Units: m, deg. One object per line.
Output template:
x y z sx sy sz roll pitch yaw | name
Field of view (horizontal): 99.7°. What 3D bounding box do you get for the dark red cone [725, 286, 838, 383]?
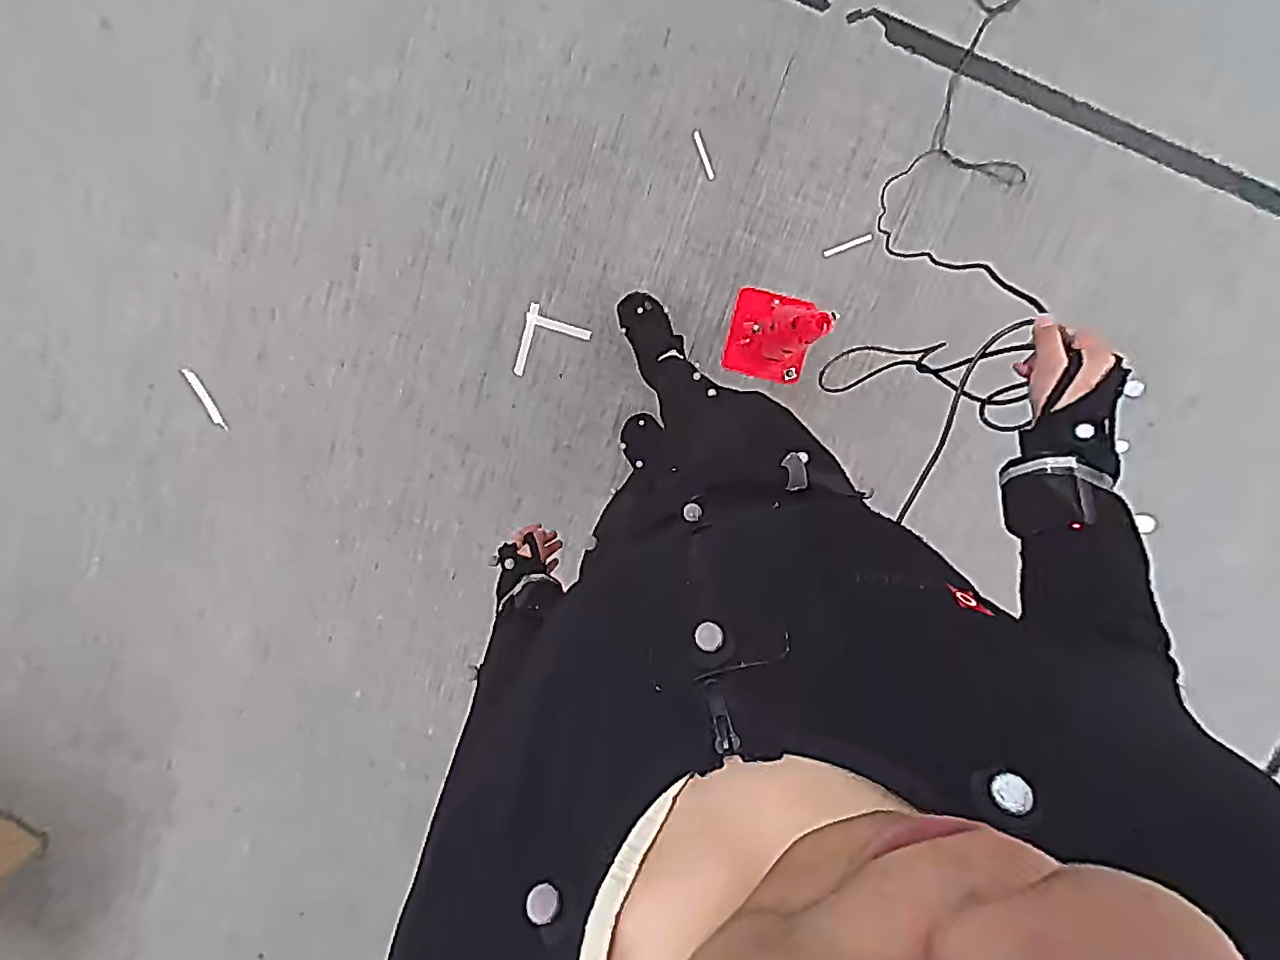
0.315 -0.312 1.107 0.202 0.394 0.201 11 99 -4 | dark red cone
